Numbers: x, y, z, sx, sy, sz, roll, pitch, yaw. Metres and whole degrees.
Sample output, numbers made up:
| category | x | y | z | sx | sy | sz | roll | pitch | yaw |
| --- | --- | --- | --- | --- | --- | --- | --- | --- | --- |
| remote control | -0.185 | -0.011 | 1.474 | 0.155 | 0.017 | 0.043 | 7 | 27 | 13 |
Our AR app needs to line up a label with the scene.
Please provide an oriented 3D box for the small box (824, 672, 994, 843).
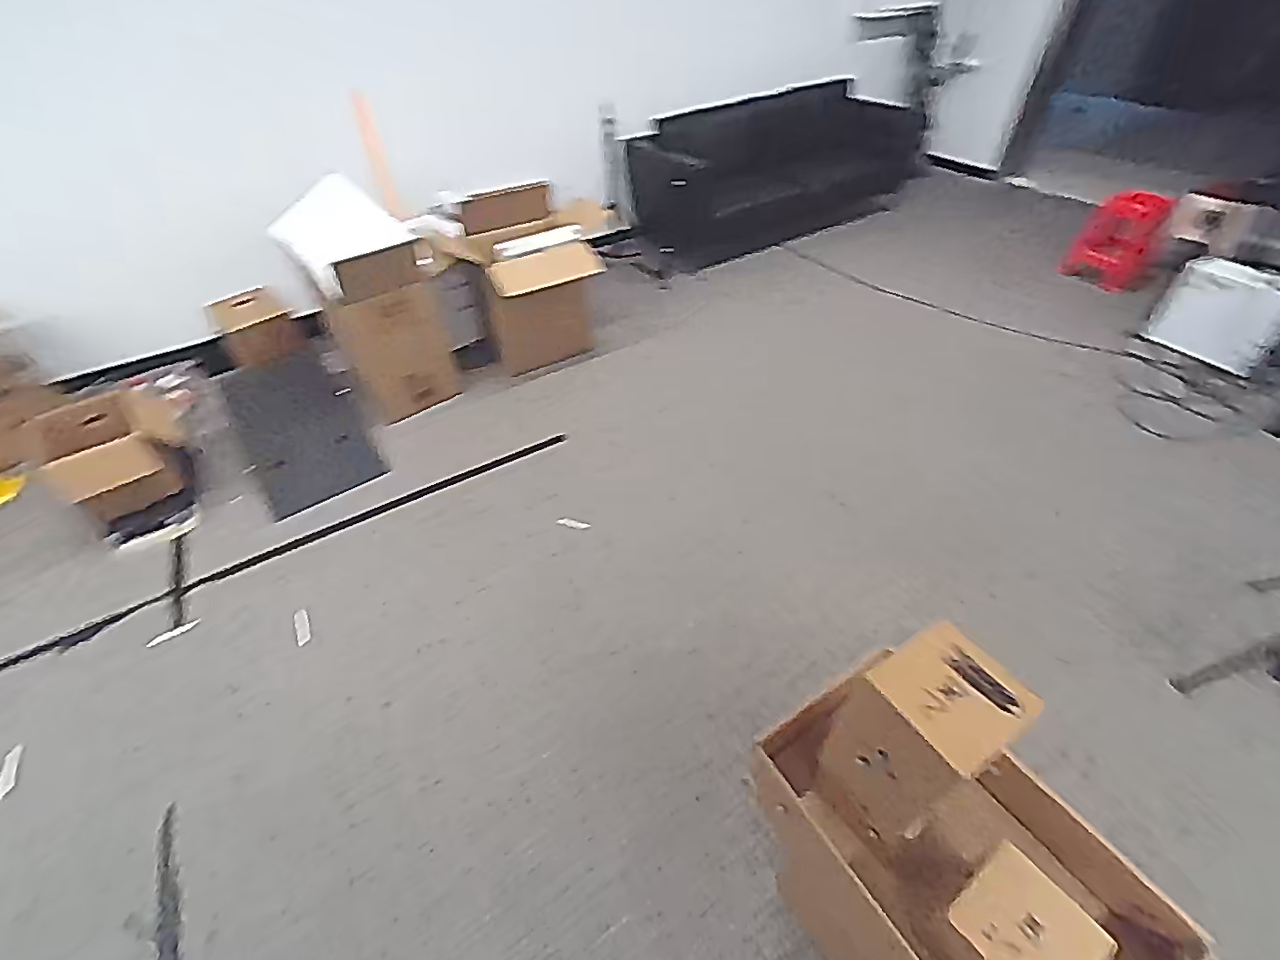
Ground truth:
| category | x | y | z | sx | sy | sz | roll | pitch | yaw |
| --- | --- | --- | --- | --- | --- | --- | --- | --- | --- |
| small box | 0.440 | 0.468 | 0.915 | 0.179 | 0.176 | 0.168 | -23 | 47 | -22 |
